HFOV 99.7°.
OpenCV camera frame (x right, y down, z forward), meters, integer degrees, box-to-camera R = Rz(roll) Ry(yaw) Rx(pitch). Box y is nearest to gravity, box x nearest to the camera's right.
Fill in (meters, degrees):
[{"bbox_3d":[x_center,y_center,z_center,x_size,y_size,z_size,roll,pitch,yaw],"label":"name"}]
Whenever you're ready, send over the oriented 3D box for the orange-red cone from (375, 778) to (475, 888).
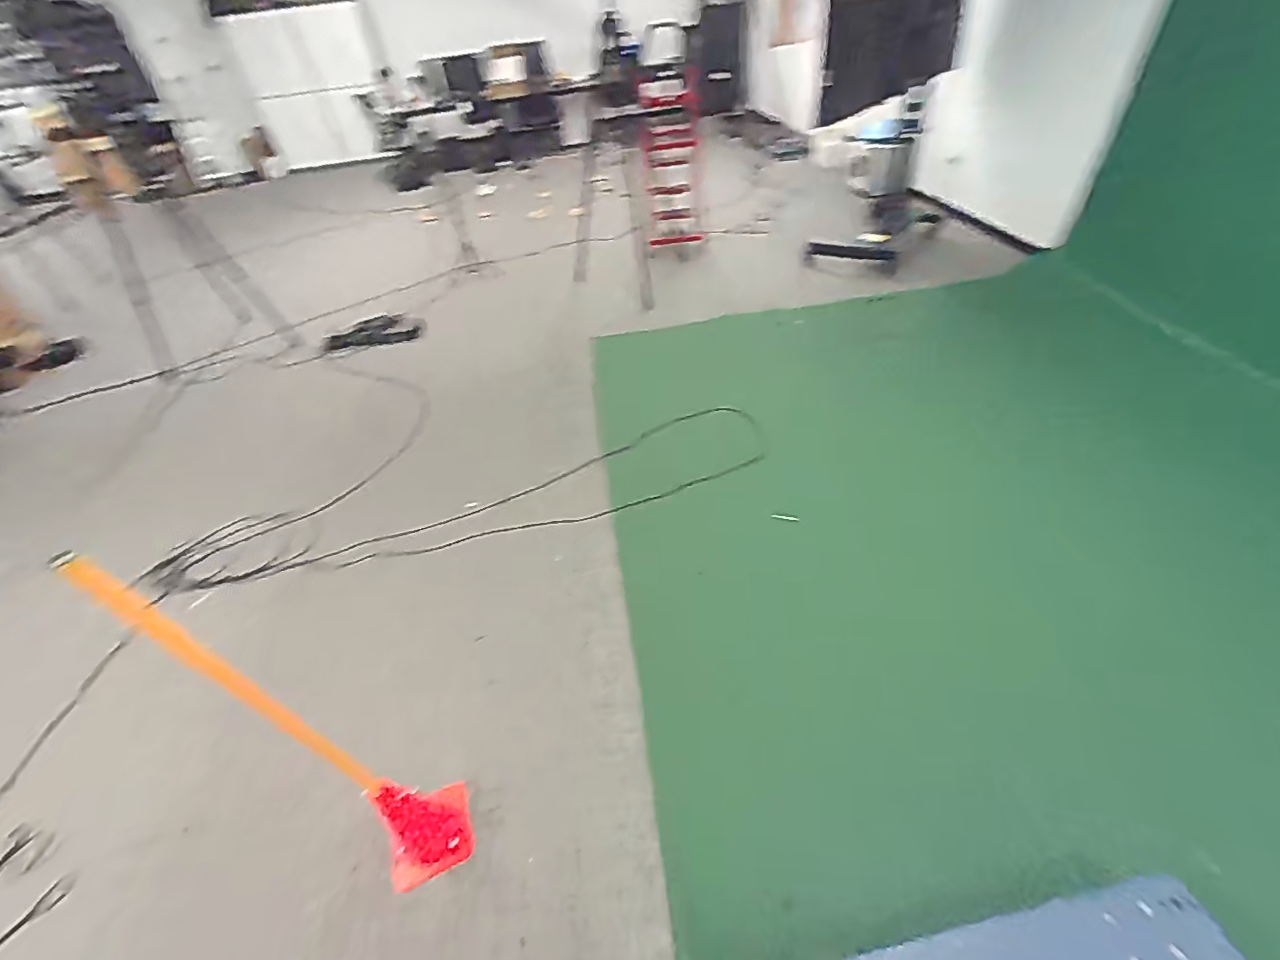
[{"bbox_3d":[-0.566,0.823,1.338,0.198,0.360,0.199,-19,42,-13],"label":"orange-red cone"}]
